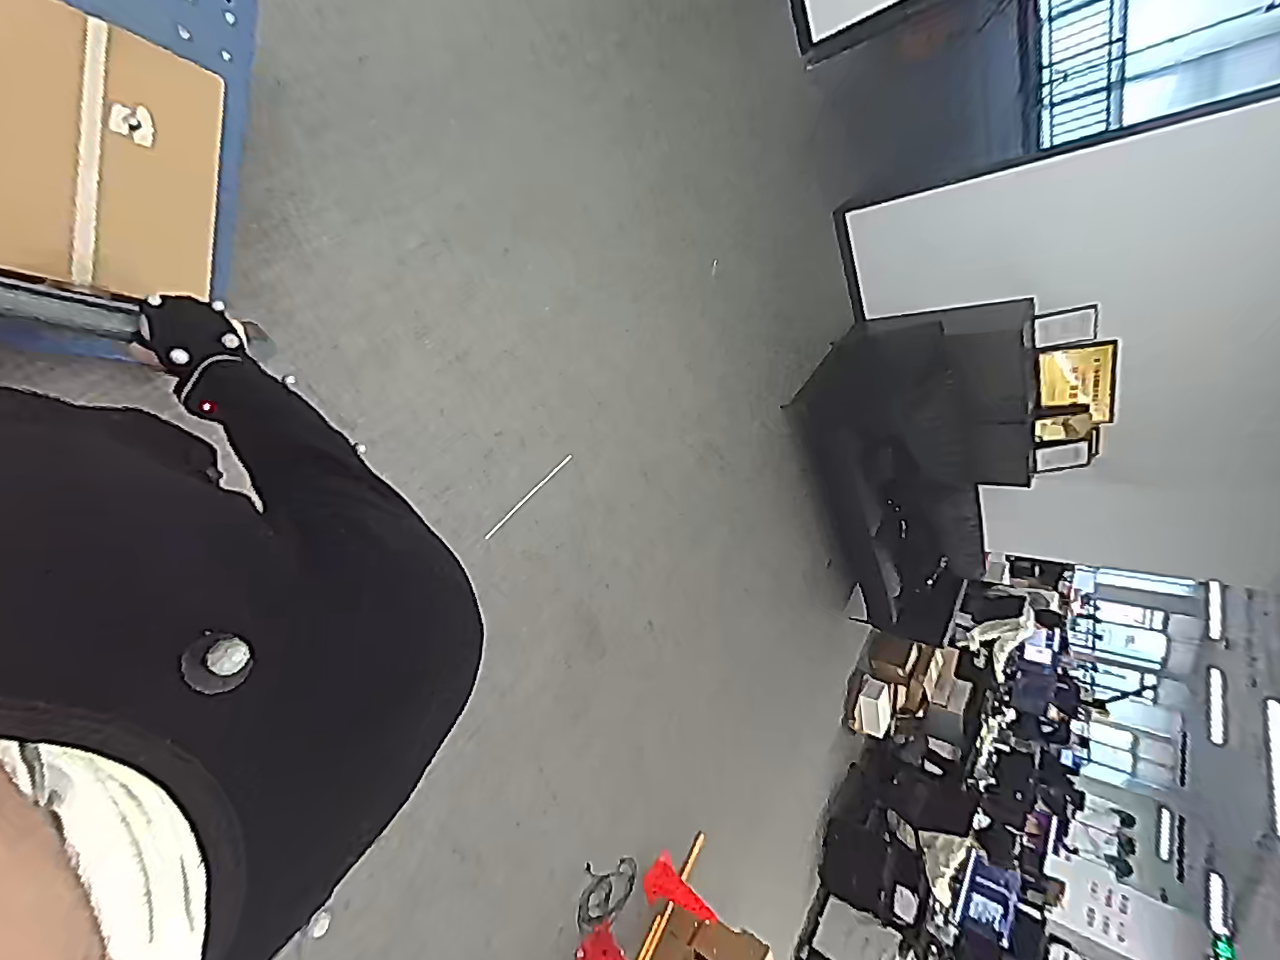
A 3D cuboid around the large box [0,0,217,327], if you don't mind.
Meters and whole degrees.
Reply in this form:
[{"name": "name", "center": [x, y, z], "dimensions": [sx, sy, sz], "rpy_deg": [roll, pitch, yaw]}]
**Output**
[{"name": "large box", "center": [-0.961, -0.513, 0.935], "dimensions": [0.320, 0.320, 0.408], "rpy_deg": [4, 91, -48]}]
